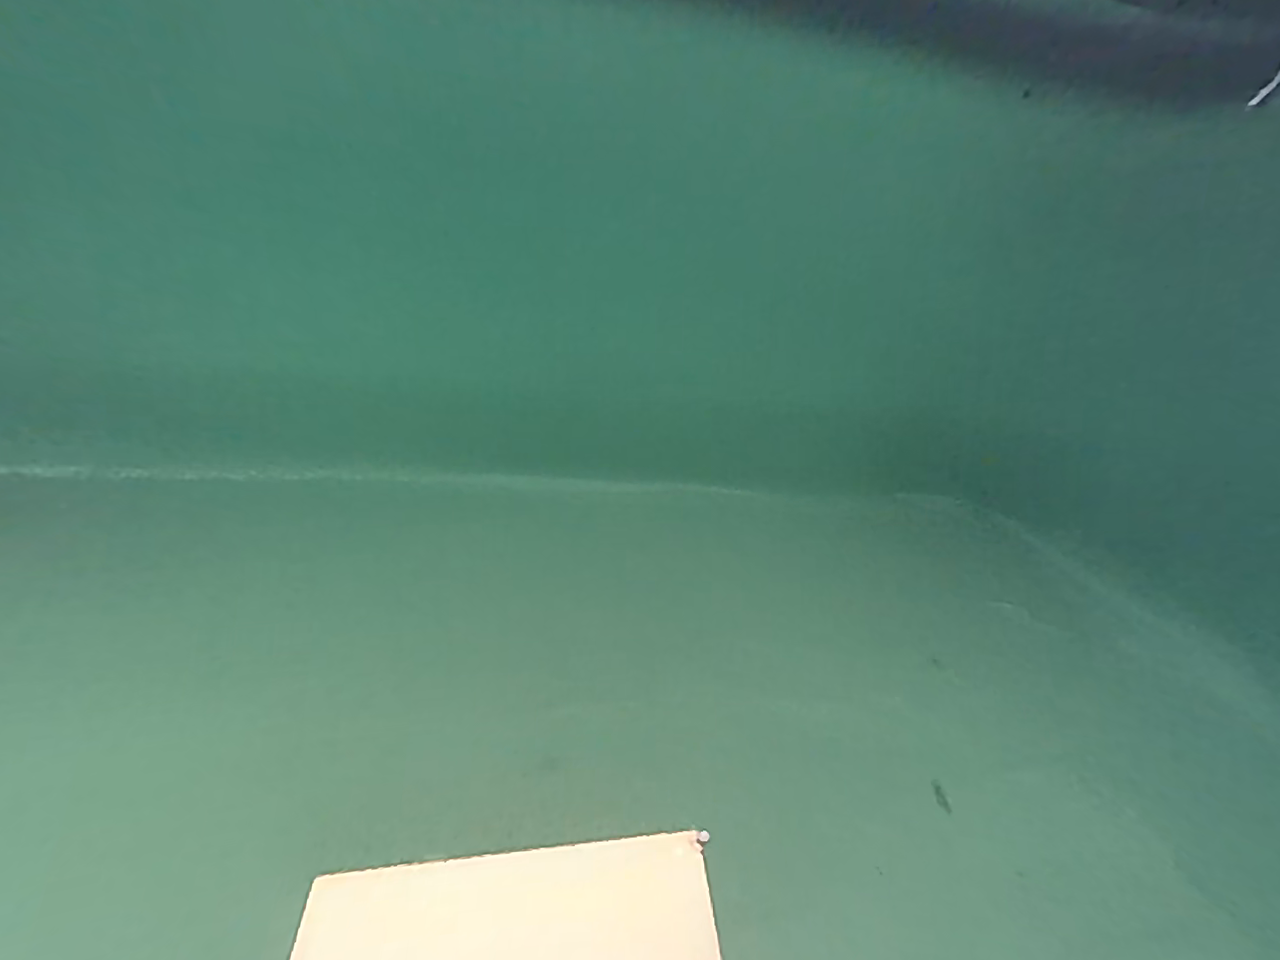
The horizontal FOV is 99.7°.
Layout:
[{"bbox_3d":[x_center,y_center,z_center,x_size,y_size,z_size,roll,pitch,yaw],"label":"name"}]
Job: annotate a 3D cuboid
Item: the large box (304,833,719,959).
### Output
[{"bbox_3d":[-0.123,0.624,0.562,0.408,0.320,0.320,-1,39,-9],"label":"large box"}]
